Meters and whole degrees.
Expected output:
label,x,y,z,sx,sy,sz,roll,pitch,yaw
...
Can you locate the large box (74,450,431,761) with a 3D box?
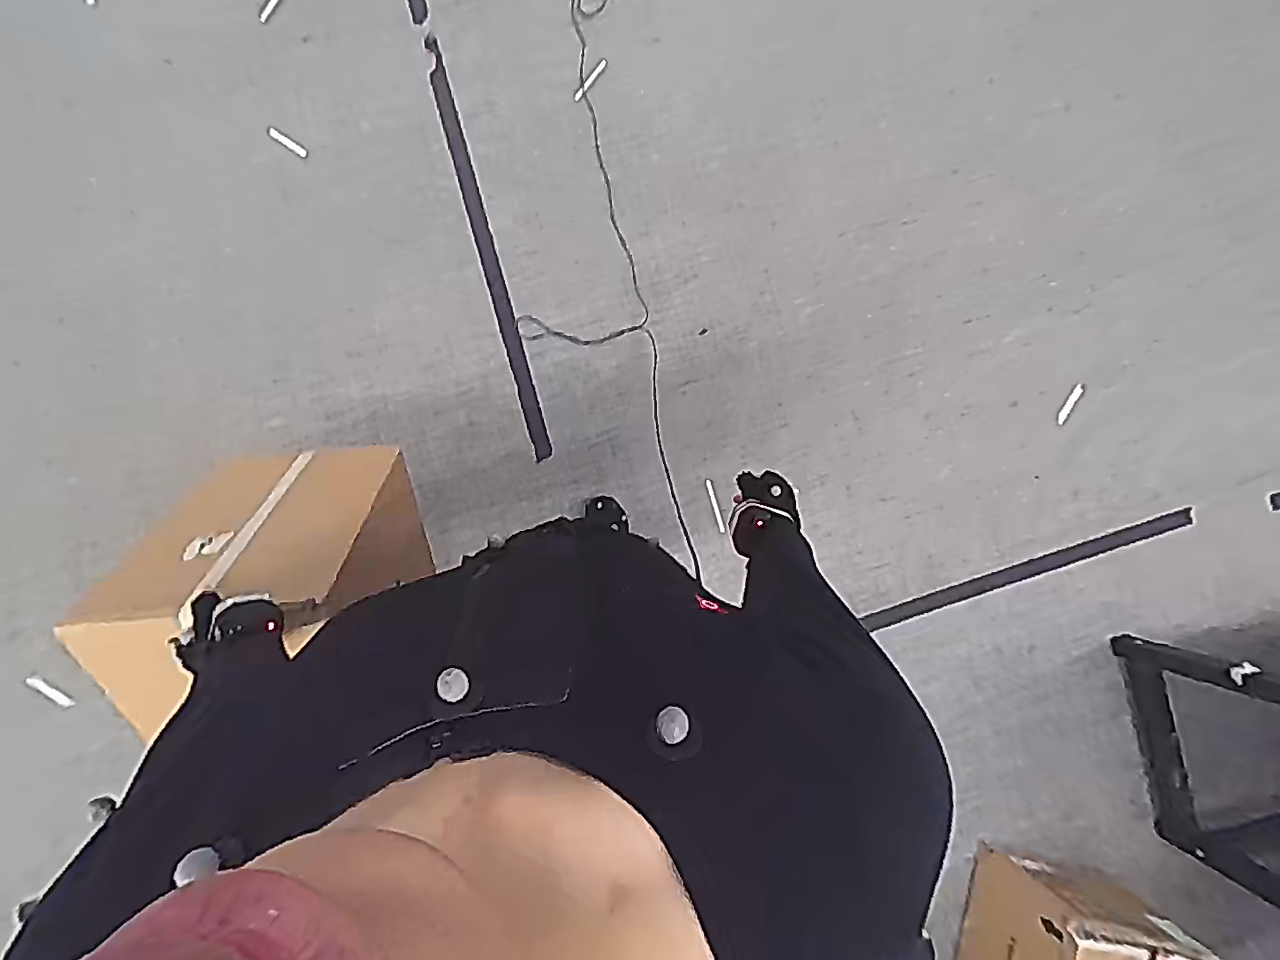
label,x,y,z,sx,sy,sz,roll,pitch,yaw
large box,-0.573,0.187,0.920,0.320,0.408,0.320,-5,124,-6
